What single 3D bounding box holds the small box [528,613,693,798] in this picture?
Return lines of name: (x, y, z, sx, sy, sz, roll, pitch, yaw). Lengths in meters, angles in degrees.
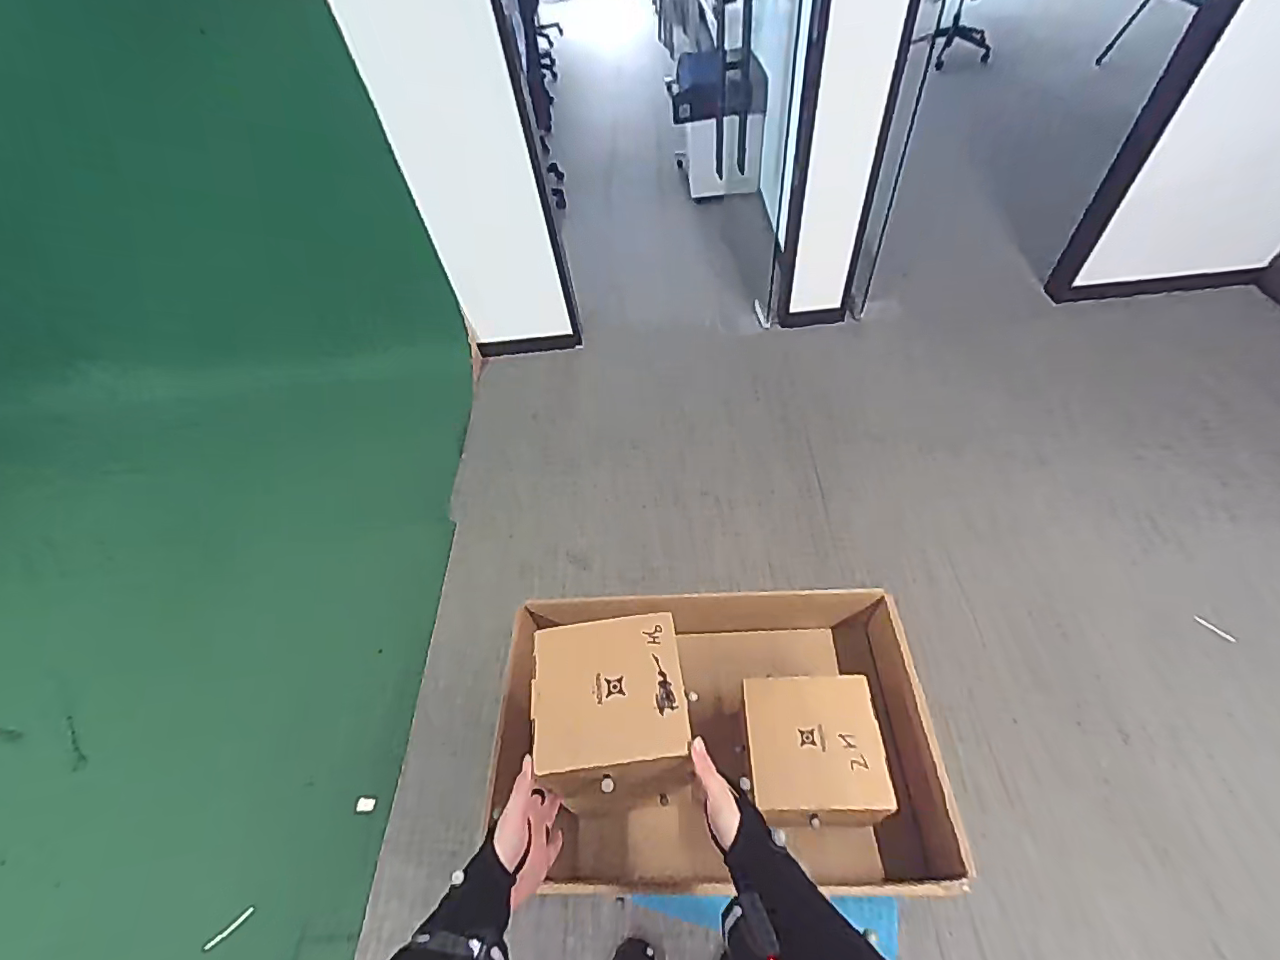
small box: (-0.032, 0.289, 0.683, 0.179, 0.176, 0.168, -8, 51, 0)
